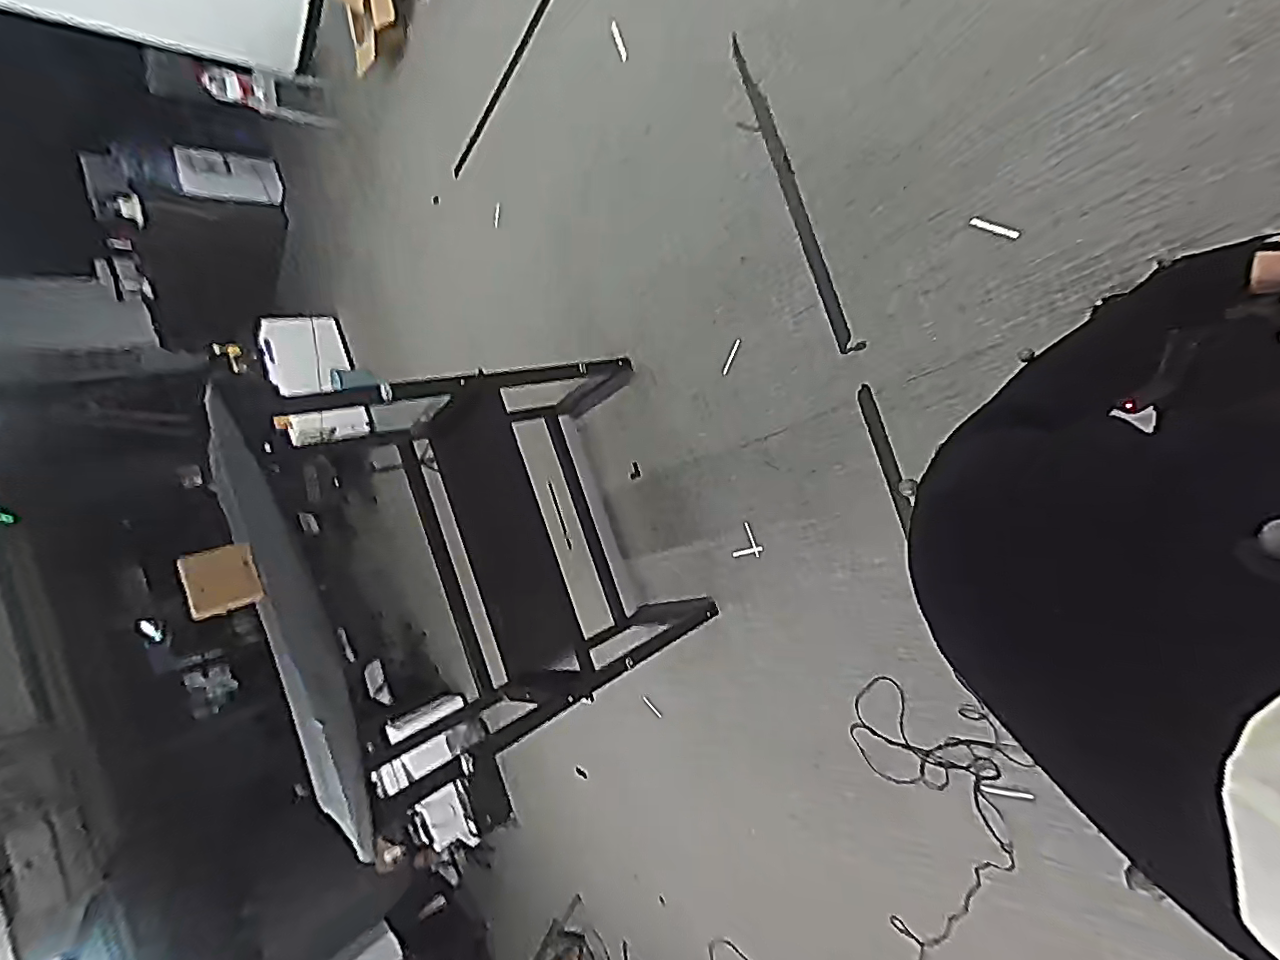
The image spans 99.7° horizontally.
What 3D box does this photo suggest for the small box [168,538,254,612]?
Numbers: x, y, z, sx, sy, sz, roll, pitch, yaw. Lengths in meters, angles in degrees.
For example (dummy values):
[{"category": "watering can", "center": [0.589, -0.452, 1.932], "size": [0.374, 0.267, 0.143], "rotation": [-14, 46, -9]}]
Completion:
[{"category": "small box", "center": [-1.271, 0.283, 1.609], "size": [0.179, 0.176, 0.168], "rotation": [-23, 86, 49]}]
